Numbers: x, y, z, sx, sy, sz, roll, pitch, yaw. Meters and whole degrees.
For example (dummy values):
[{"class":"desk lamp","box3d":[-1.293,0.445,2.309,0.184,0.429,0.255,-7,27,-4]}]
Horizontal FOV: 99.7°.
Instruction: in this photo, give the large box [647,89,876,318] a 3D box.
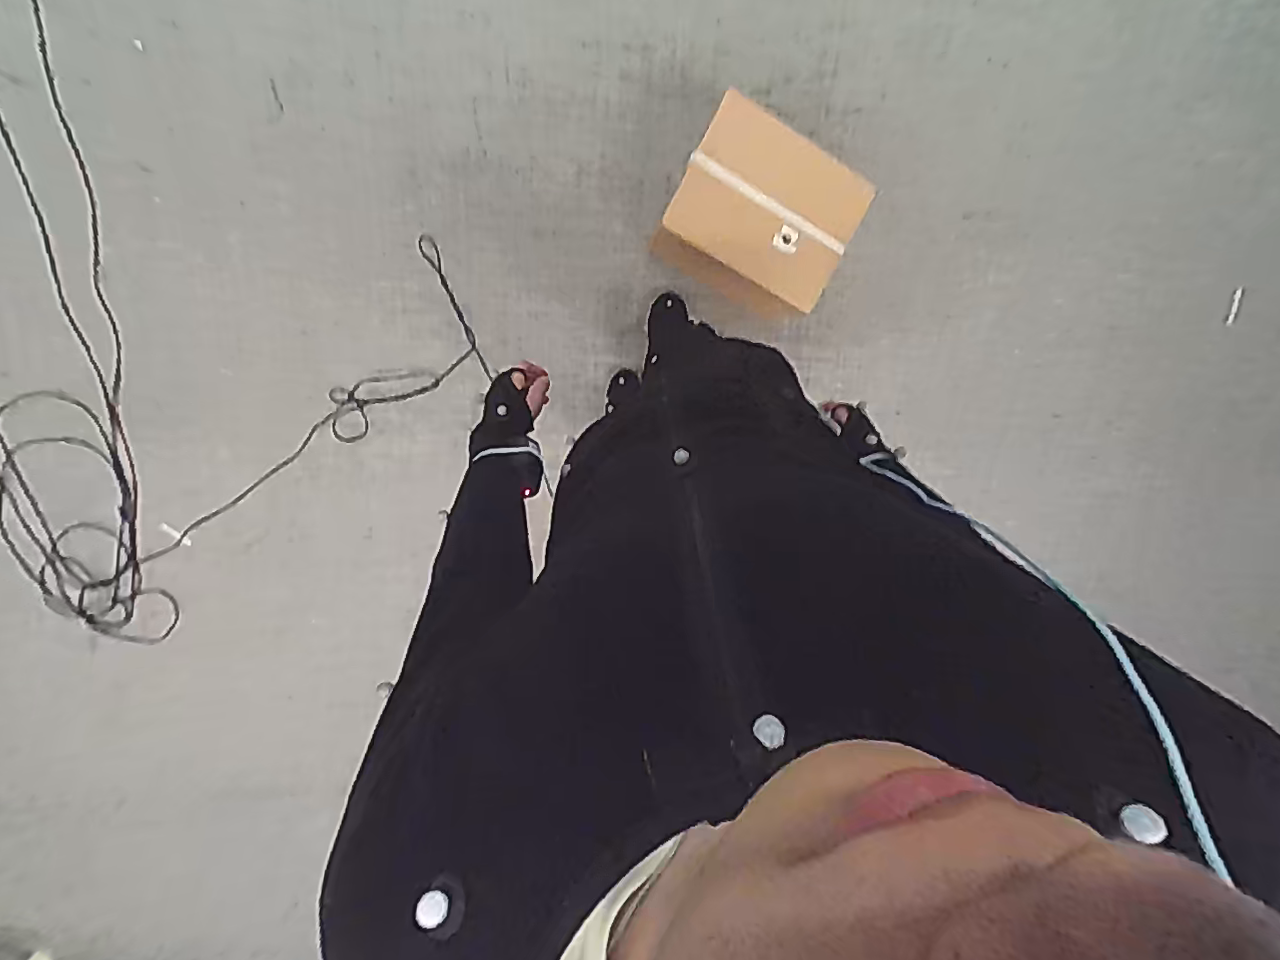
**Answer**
[{"class":"large box","box3d":[0.273,-0.647,1.346,0.408,0.320,0.320,28,99,-11]}]
